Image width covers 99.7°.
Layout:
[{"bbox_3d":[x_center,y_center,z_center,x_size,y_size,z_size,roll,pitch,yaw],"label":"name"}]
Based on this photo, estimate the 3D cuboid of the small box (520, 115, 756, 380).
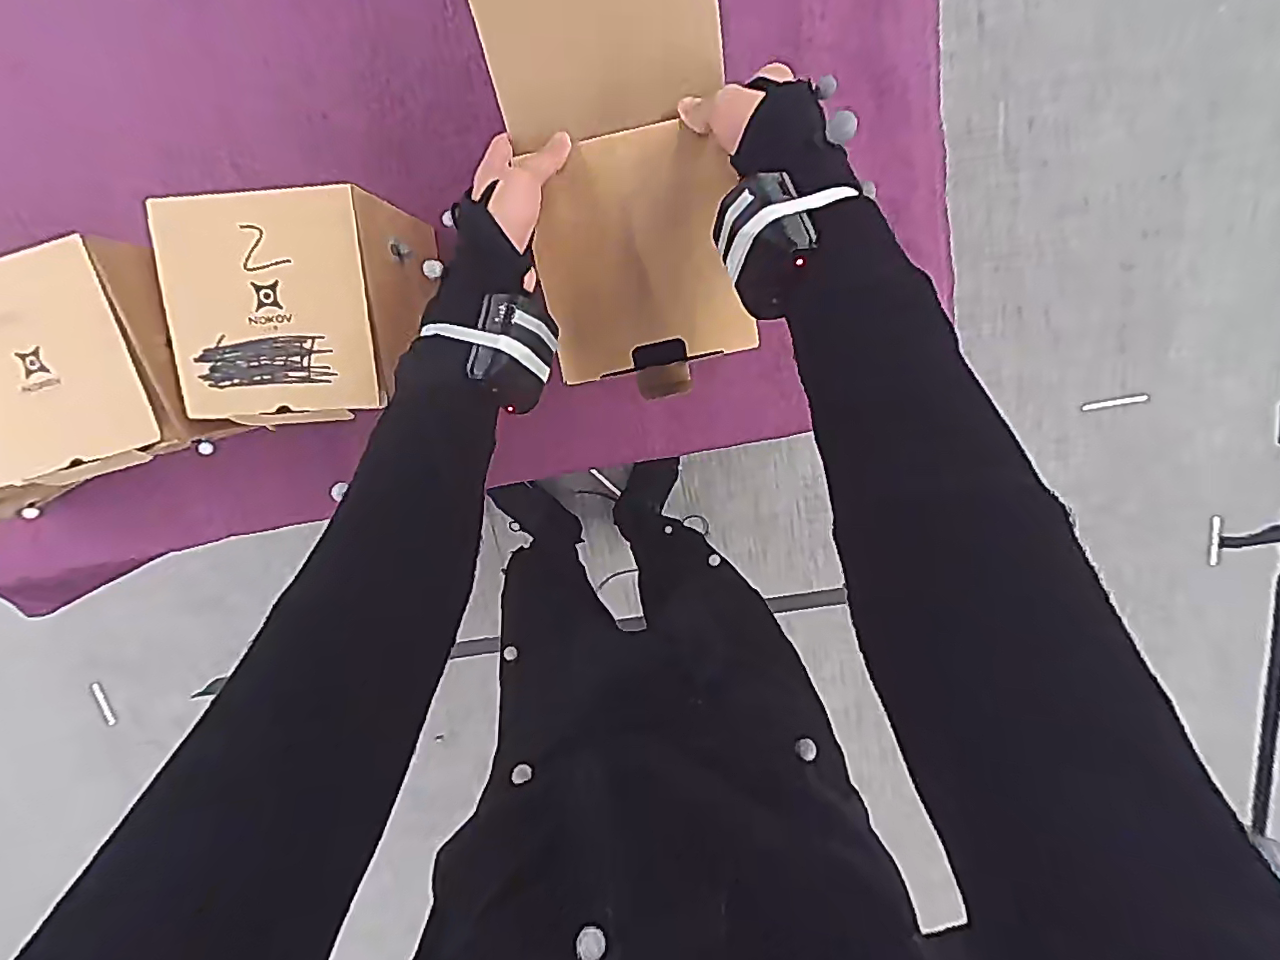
[{"bbox_3d":[0.002,-0.195,0.504,0.168,0.176,0.179,-10,103,4],"label":"small box"}]
